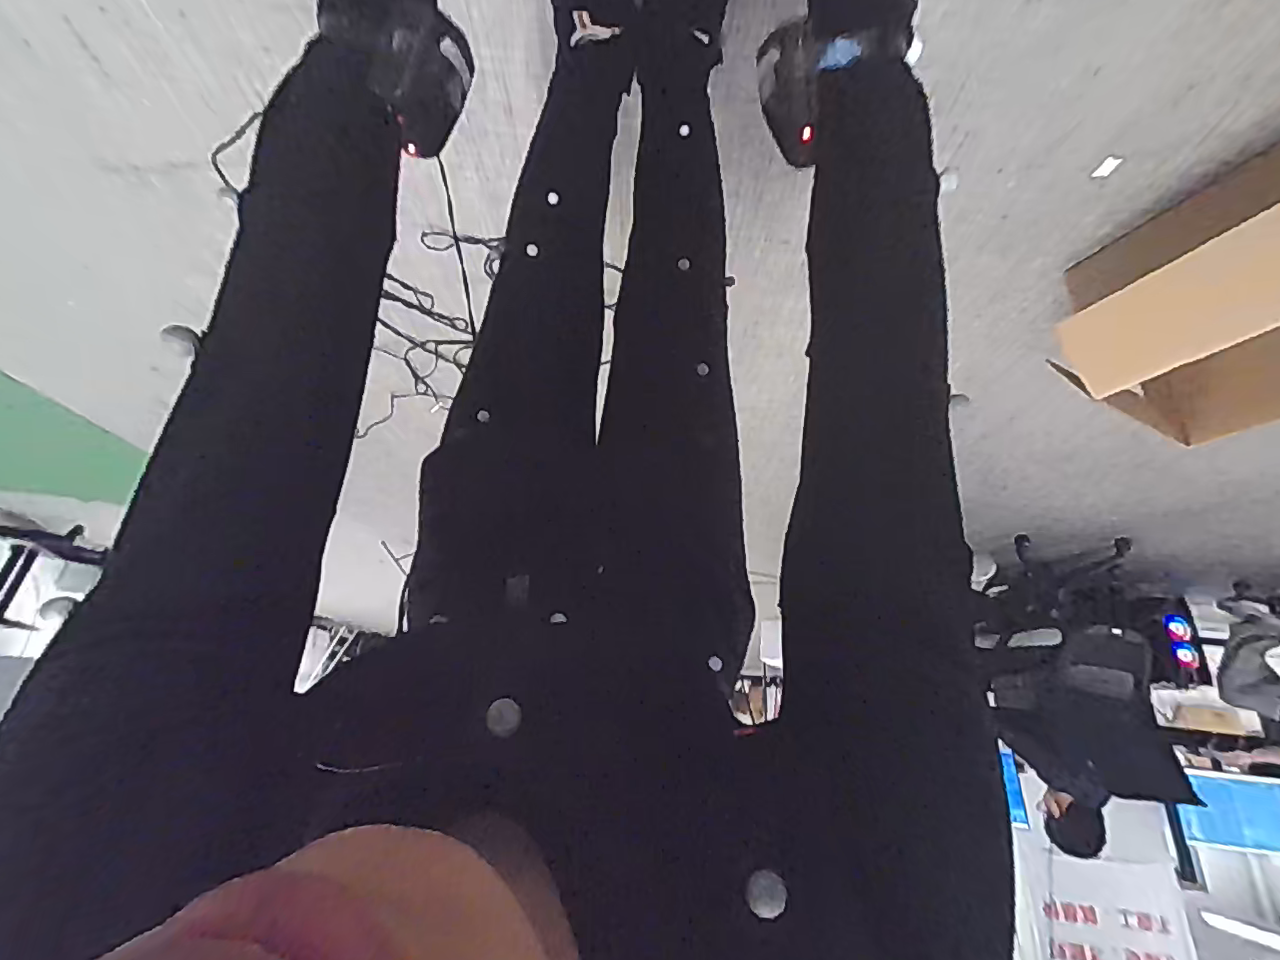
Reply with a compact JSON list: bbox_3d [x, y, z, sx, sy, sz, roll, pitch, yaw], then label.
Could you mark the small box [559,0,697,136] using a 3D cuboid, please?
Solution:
[{"bbox_3d":[-0.026,-0.624,0.750,0.168,0.176,0.179,-1,161,-9],"label":"small box"}]
